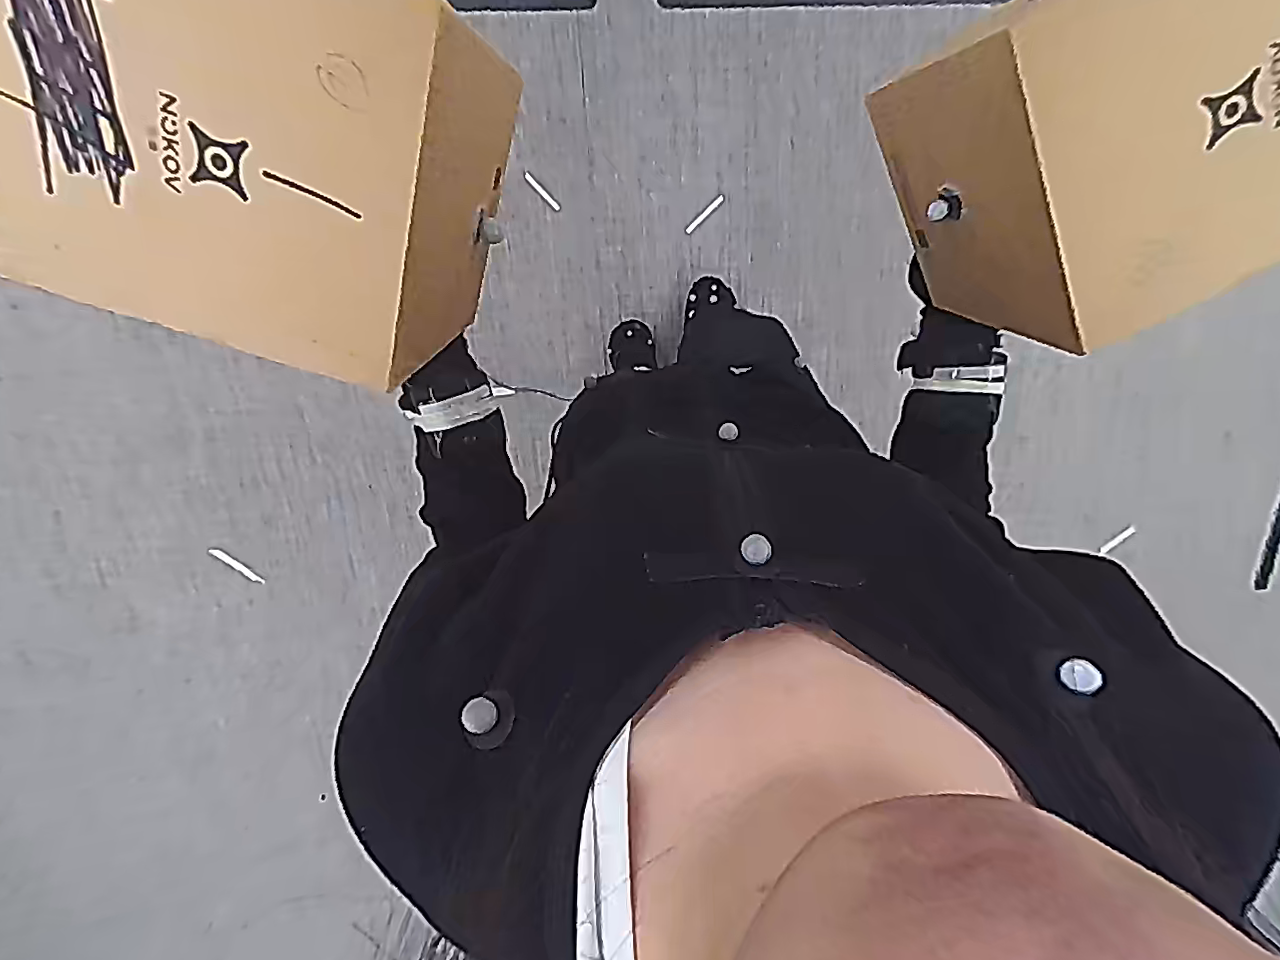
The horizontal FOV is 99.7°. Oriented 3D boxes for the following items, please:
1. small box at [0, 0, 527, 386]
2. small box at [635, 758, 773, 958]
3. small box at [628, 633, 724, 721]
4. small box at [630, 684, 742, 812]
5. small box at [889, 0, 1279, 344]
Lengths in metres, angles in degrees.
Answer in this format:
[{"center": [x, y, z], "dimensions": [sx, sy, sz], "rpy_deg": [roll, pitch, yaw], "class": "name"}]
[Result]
[{"center": [-0.176, -0.176, 0.293], "dimensions": [0.179, 0.176, 0.168], "rpy_deg": [17, 118, -10], "class": "small box"}, {"center": [0.079, 0.518, 0.763], "dimensions": [0.168, 0.176, 0.179], "rpy_deg": [-2, 109, -2], "class": "small box"}, {"center": [0.063, 0.421, 1.073], "dimensions": [0.168, 0.176, 0.179], "rpy_deg": [1, 106, -3], "class": "small box"}, {"center": [0.069, 0.465, 0.917], "dimensions": [0.168, 0.176, 0.179], "rpy_deg": [-1, 108, -3], "class": "small box"}, {"center": [0.271, -0.207, 0.315], "dimensions": [0.179, 0.176, 0.168], "rpy_deg": [-28, 114, 13], "class": "small box"}]
